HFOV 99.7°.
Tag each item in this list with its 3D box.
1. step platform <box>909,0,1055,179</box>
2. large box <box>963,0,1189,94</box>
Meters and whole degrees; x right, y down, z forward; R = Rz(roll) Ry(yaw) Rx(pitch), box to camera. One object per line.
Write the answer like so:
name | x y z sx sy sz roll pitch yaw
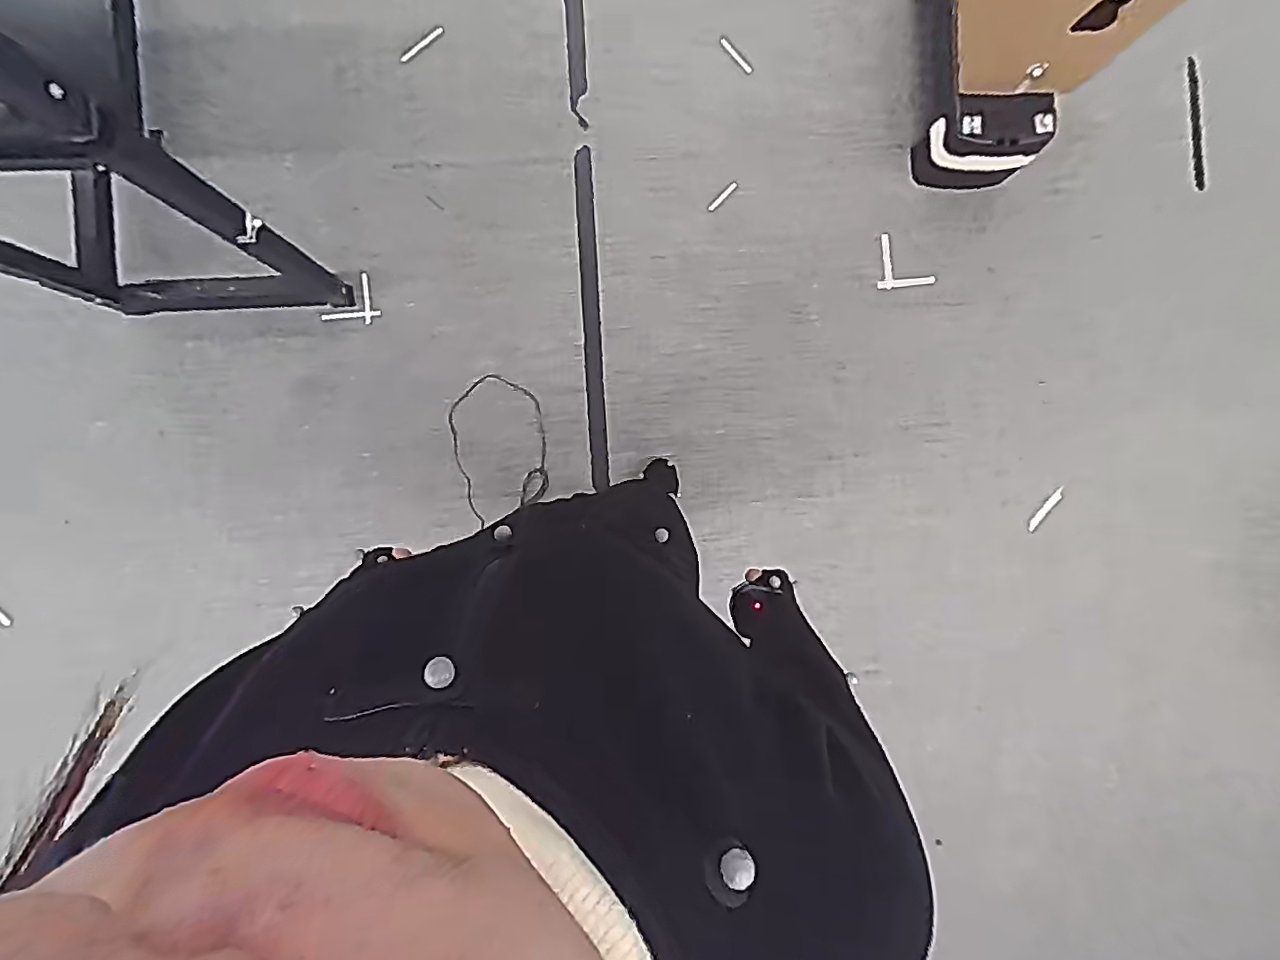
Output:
step platform | 0.926 -1.205 1.452 0.286 0.204 0.684 2 90 -4
large box | 0.969 -1.174 1.217 0.320 0.320 0.408 -3 90 -4
